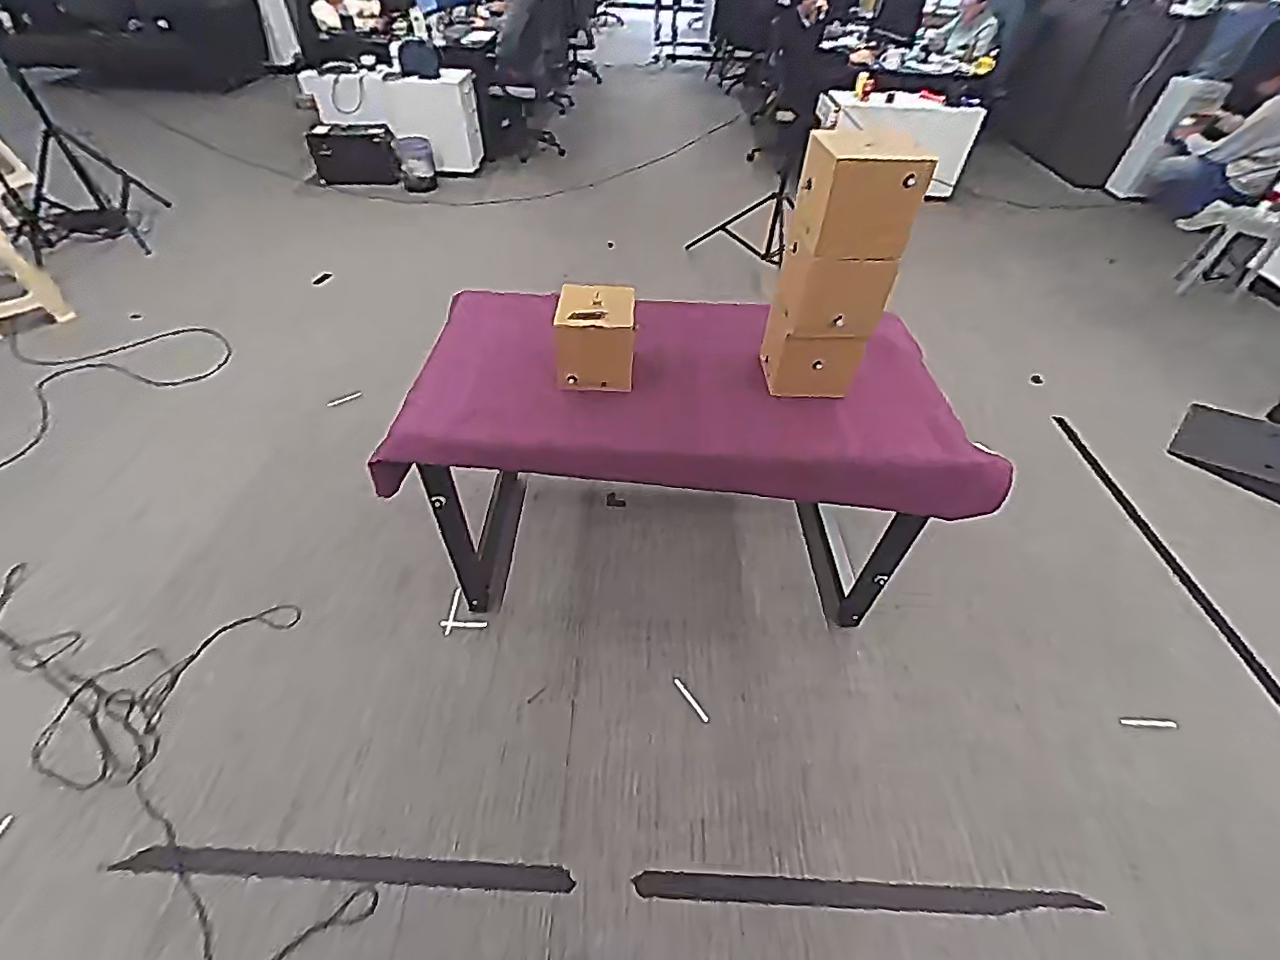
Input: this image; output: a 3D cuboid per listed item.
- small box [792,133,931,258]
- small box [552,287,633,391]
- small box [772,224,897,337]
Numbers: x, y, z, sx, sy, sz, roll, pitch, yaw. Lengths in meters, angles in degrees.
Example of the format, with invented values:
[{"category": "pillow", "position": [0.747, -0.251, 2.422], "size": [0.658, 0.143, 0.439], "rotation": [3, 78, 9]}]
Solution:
[{"category": "small box", "position": [0.394, -0.527, 1.006], "size": [0.179, 0.176, 0.168], "rotation": [-1, 47, -4]}, {"category": "small box", "position": [-0.102, -0.318, 1.231], "size": [0.168, 0.176, 0.179], "rotation": [2, 46, -1]}, {"category": "small box", "position": [0.390, -0.409, 1.118], "size": [0.179, 0.176, 0.168], "rotation": [-1, 46, -4]}]
